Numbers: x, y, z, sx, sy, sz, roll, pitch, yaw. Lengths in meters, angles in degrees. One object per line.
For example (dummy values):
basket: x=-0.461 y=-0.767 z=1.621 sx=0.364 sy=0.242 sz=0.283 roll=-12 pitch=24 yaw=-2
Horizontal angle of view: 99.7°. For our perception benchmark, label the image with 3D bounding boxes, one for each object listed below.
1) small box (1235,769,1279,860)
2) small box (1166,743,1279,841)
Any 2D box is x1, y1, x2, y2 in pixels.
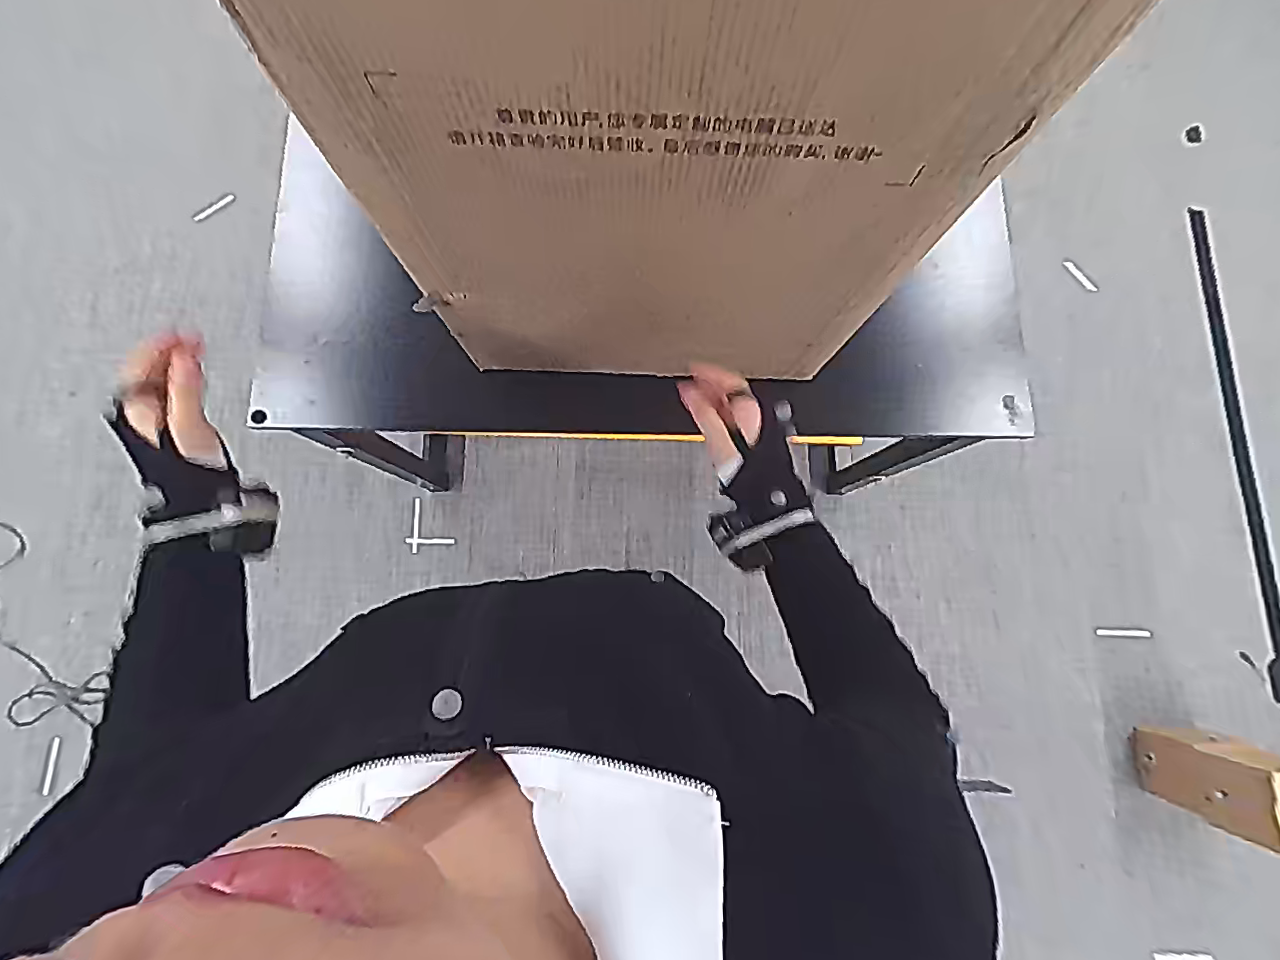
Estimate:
small box: x=1.443 y=0.726 z=1.144 sx=0.179 sy=0.176 sz=0.168 roll=0 pitch=79 yaw=-1
small box: x=1.447 y=0.747 z=1.308 sx=0.179 sy=0.176 sz=0.168 roll=0 pitch=80 yaw=0
